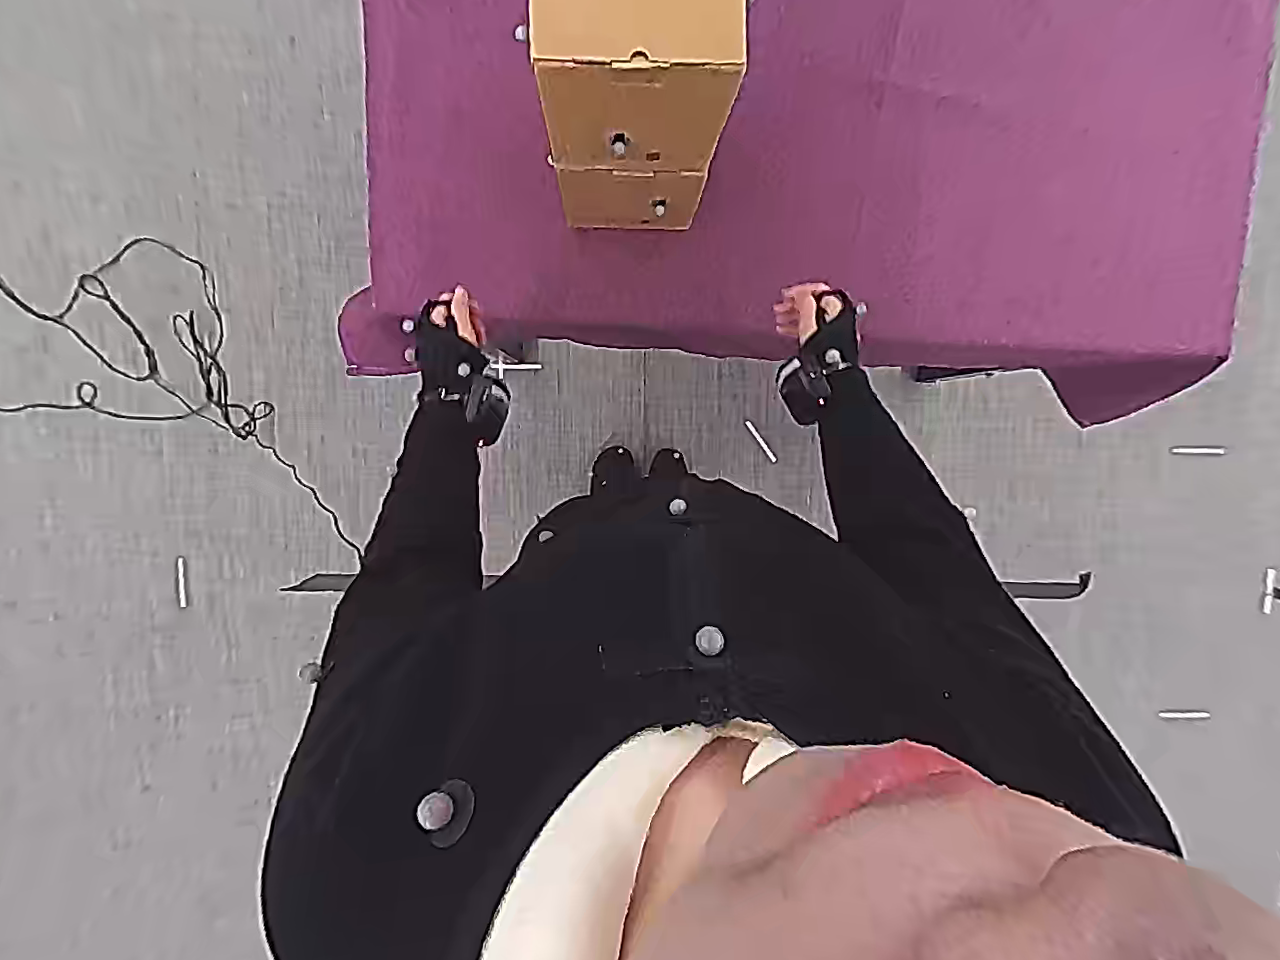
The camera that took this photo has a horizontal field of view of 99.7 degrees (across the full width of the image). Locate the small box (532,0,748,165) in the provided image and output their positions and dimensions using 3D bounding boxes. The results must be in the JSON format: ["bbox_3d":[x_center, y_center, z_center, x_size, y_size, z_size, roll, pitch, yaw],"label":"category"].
[{"bbox_3d":[-0.006,-0.409,0.481,0.168,0.176,0.179,-2,97,-4],"label":"small box"}]

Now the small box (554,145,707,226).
[{"bbox_3d":[-0.011,-0.420,0.642,0.168,0.176,0.179,1,95,-3],"label":"small box"}]
